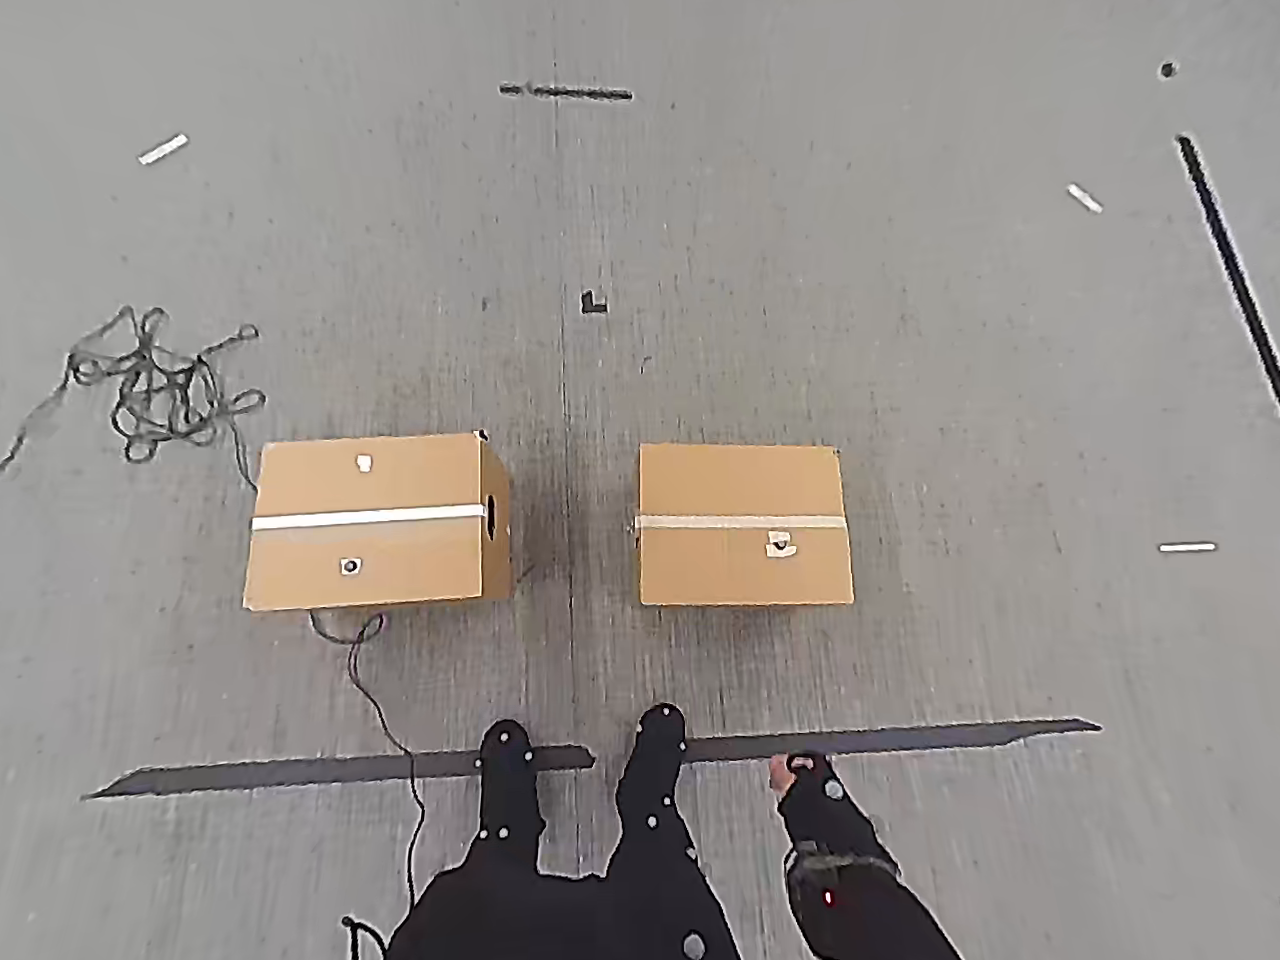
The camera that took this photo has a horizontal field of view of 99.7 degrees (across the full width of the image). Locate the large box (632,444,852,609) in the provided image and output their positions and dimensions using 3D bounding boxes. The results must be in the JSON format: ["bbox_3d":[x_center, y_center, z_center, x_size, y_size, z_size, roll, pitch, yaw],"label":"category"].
[{"bbox_3d":[0.193,0.118,1.194,0.408,0.320,0.320,1,76,-4],"label":"large box"}]
